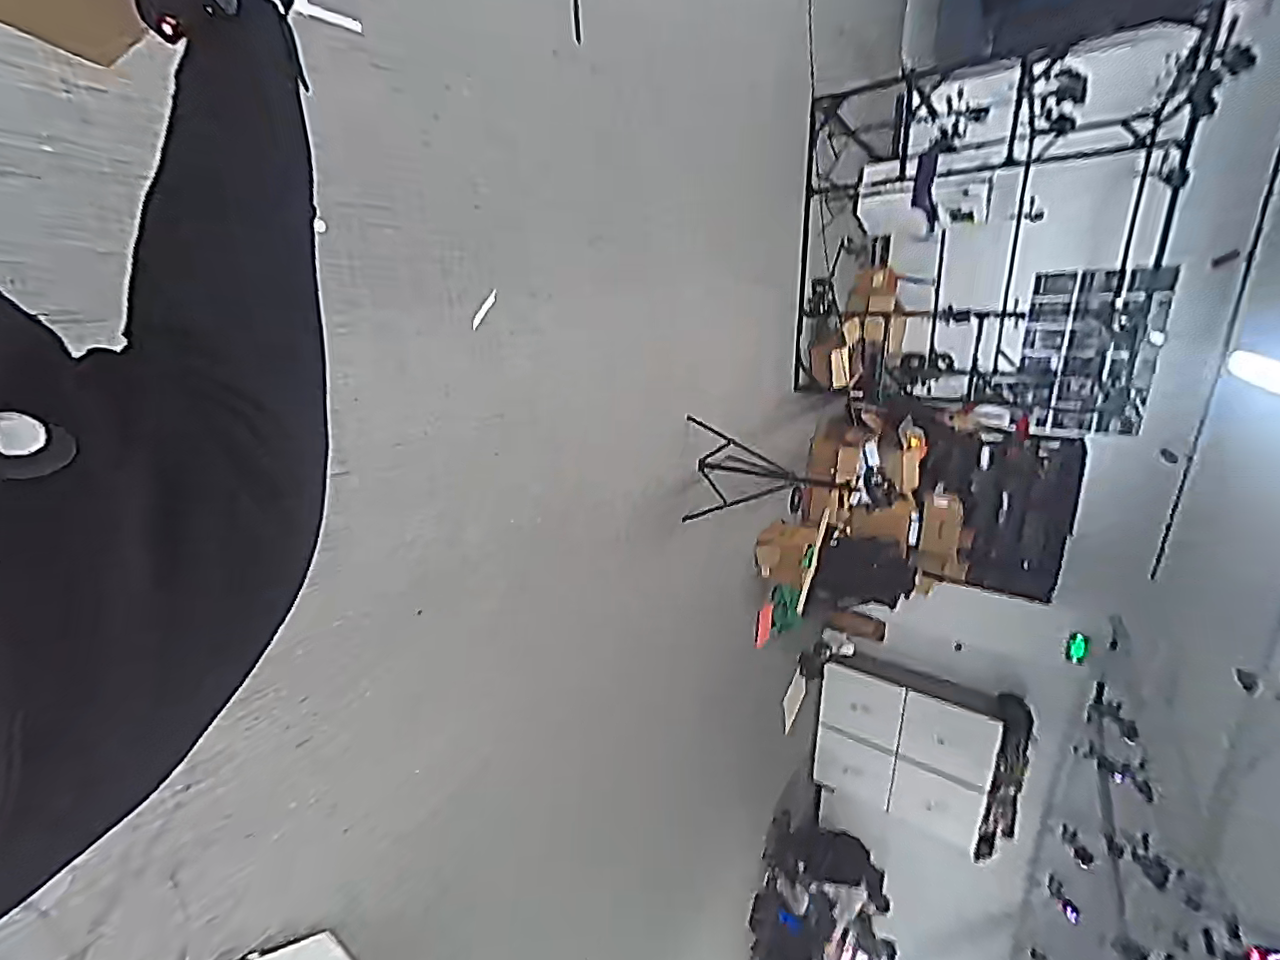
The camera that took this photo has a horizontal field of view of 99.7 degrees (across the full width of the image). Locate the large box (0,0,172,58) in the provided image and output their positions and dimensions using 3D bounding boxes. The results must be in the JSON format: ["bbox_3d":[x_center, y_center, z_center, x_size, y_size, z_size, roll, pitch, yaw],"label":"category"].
[{"bbox_3d":[-0.538,-0.542,0.302,0.408,0.320,0.320,-2,108,-54],"label":"large box"}]
